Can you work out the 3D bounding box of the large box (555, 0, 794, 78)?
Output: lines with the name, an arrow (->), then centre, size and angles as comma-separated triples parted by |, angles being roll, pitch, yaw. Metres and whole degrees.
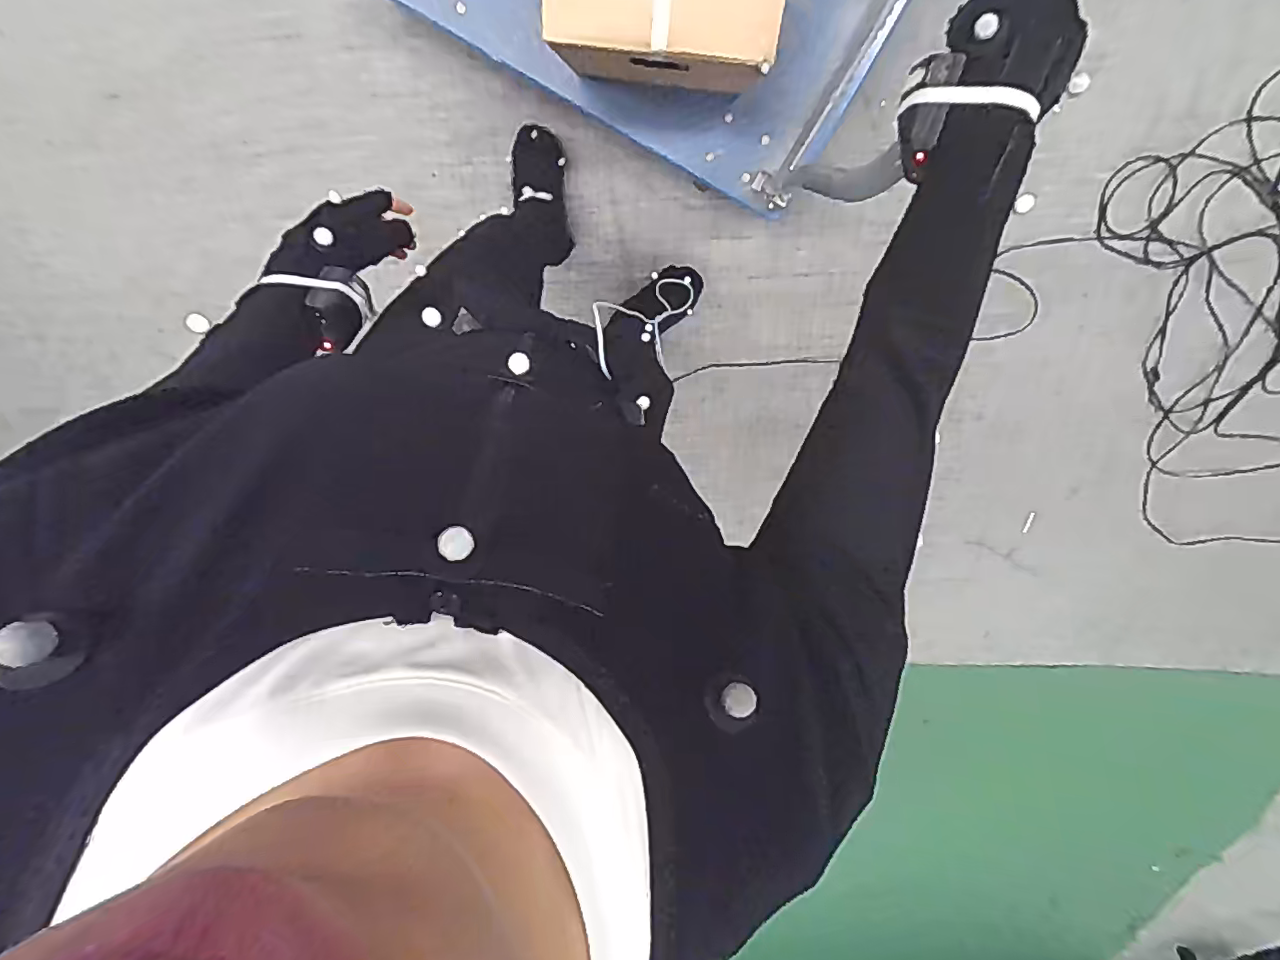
large box -> 0.060, -0.827, 0.739 | 0.320, 0.320, 0.408 | 6, 122, 0
